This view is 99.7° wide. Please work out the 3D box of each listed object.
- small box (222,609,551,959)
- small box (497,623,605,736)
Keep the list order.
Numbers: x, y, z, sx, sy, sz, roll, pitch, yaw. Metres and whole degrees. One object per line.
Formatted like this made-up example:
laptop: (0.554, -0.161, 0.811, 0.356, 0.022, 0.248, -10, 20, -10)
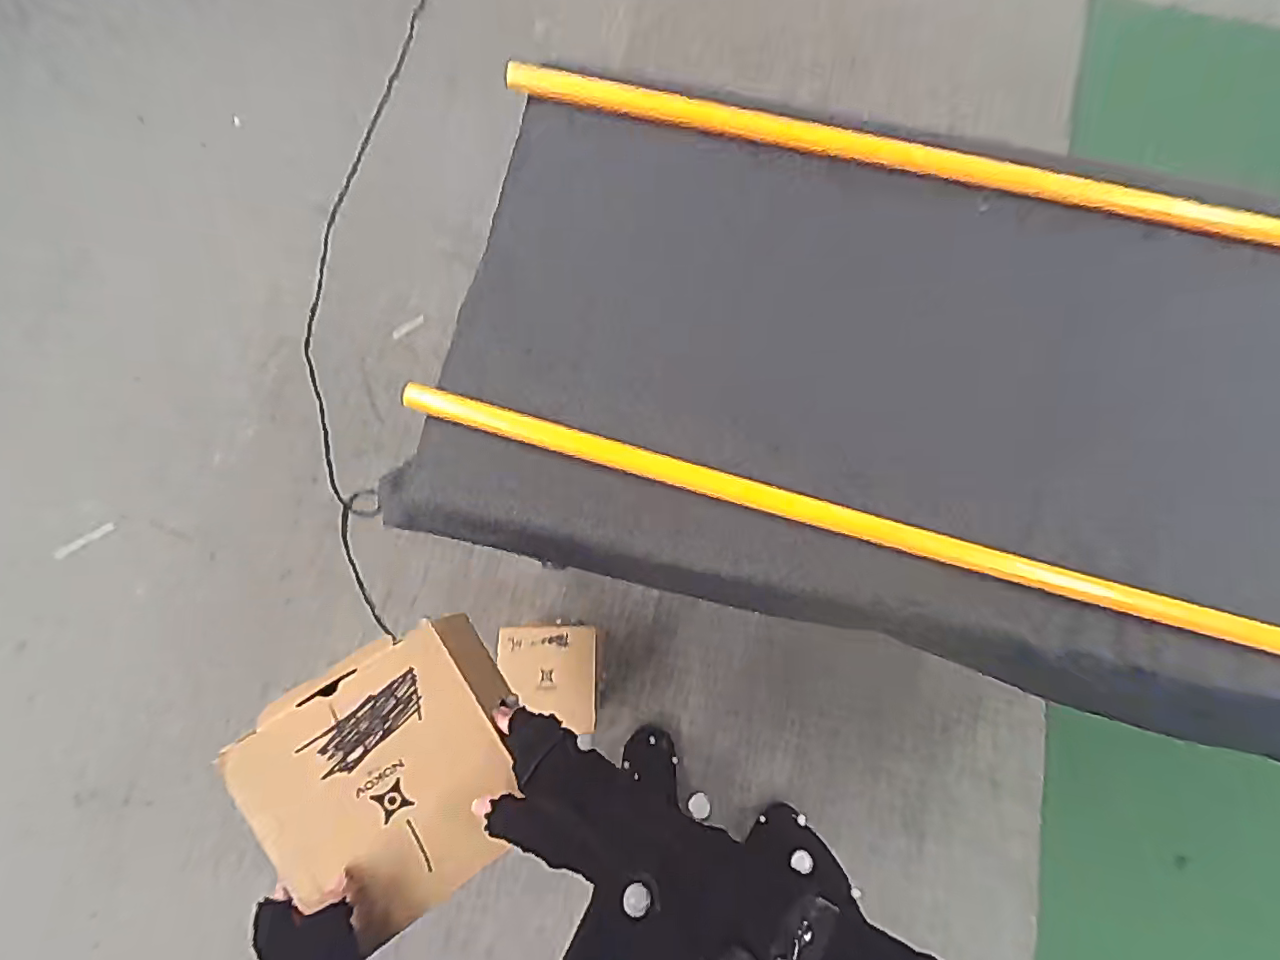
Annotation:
small box: (-0.193, 0.227, 0.464, 0.168, 0.176, 0.179, -32, 87, -14)
small box: (-0.155, 0.353, 0.977, 0.168, 0.176, 0.179, -4, 75, 1)
